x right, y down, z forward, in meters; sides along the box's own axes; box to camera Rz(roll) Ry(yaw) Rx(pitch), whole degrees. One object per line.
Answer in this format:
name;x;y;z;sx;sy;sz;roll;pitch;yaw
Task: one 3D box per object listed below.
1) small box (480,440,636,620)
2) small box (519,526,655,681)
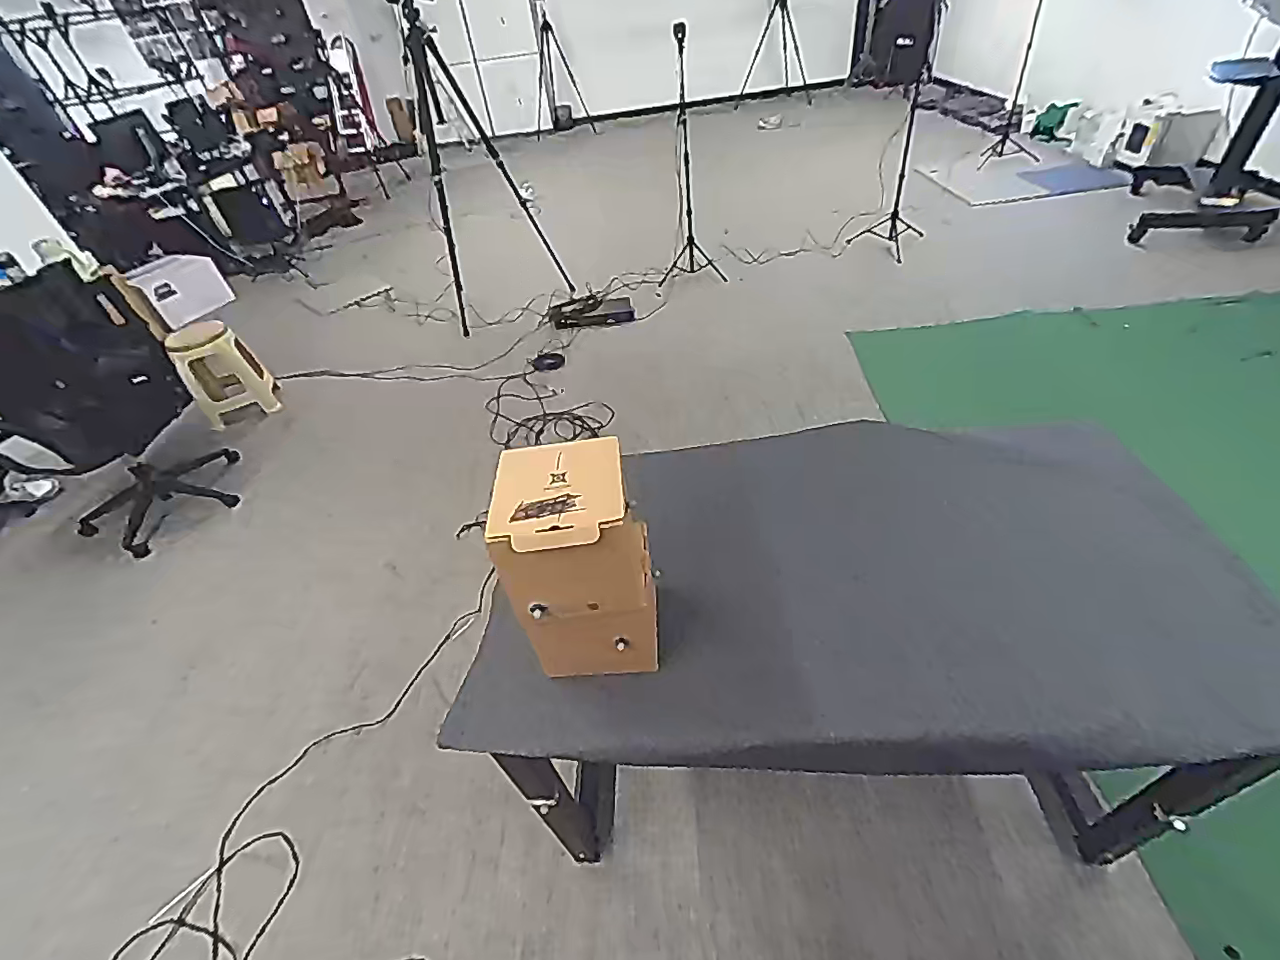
small box;-0.100;0.073;0.733;0.168;0.176;0.179;-8;39;1
small box;-0.069;0.193;0.841;0.179;0.176;0.168;-6;40;5
